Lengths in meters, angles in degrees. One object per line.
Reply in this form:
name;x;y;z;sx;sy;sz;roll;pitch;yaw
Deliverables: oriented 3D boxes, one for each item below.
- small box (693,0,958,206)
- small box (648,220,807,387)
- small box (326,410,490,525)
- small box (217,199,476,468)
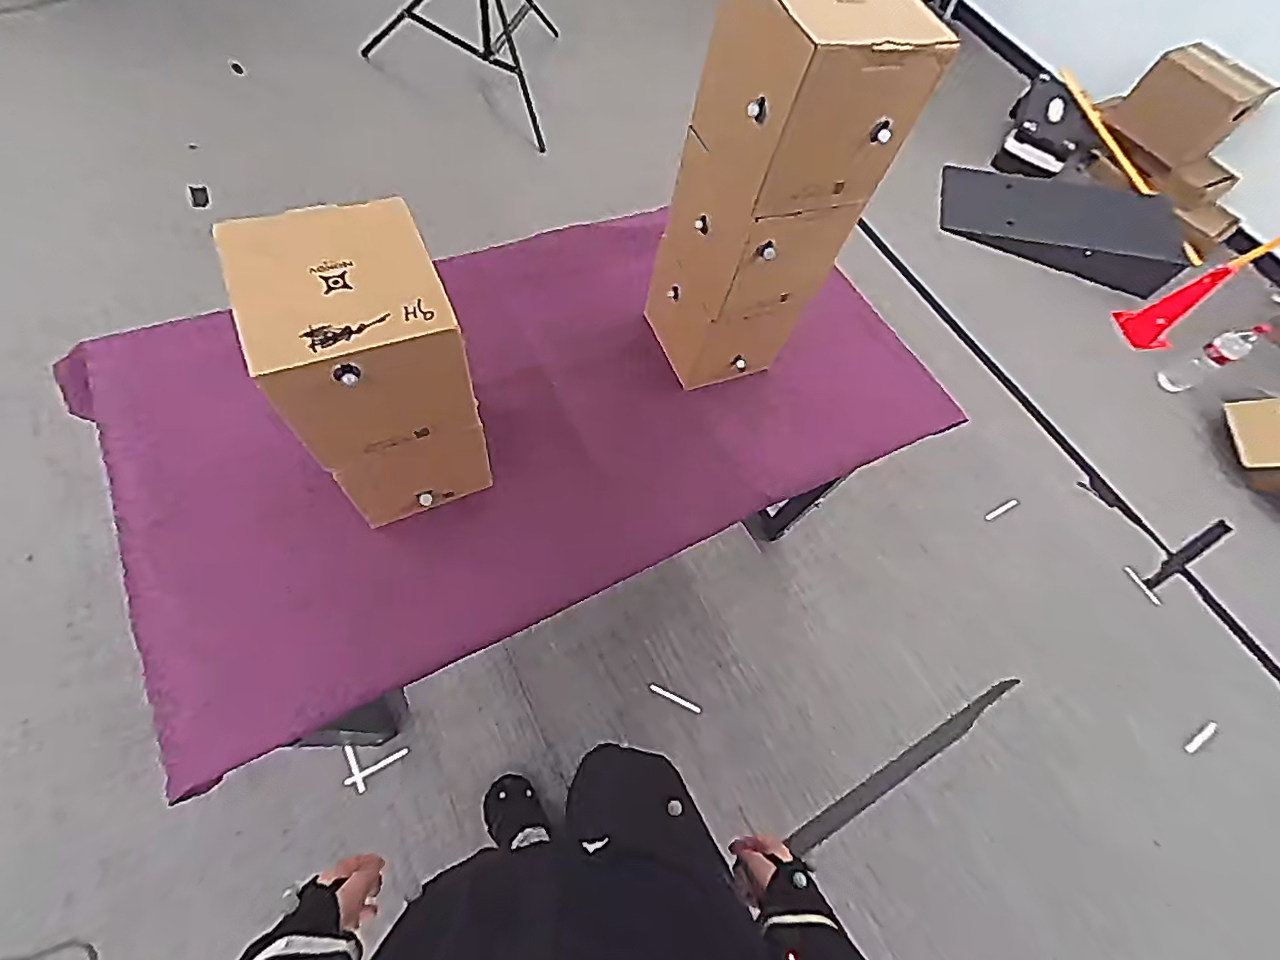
small box;0.175;-0.414;0.572;0.168;0.176;0.179;-16;67;-18
small box;0.126;-0.278;0.865;0.168;0.176;0.179;-18;69;-17
small box;-0.302;-0.070;0.687;0.168;0.176;0.179;-21;70;-19
small box;-0.277;-0.141;0.541;0.168;0.176;0.179;-21;69;-19
